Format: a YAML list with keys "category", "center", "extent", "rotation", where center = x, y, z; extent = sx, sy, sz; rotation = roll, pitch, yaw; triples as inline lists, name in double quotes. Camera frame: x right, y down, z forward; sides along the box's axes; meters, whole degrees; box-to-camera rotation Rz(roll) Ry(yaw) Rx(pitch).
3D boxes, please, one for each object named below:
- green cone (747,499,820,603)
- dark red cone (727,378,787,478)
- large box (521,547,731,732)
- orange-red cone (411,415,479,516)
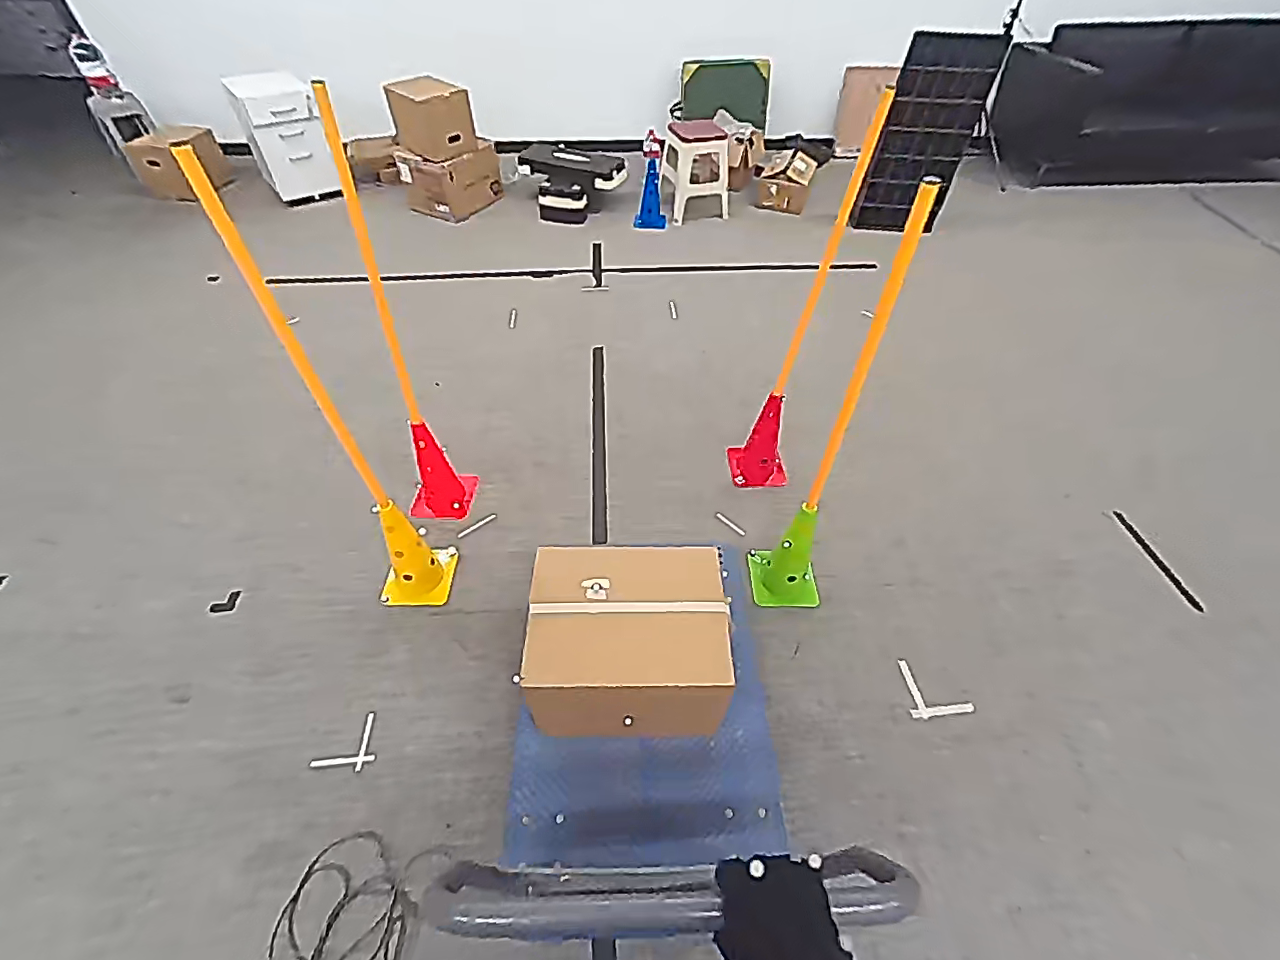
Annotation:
- category: "green cone"
  center: [0.453, 0.187, 1.586]
  extent: [0.202, 0.368, 0.200]
  rotation: [2, 48, -2]
- category: "dark red cone"
  center: [0.443, -0.188, 1.895]
  extent: [0.201, 0.394, 0.202]
  rotation: [-1, 49, -5]
- category: "large box"
  center: [-0.028, 0.365, 1.222]
  extent: [0.408, 0.320, 0.320]
  rotation: [0, 49, -1]
- category: "orange-red cone"
  center: [-0.680, -0.071, 1.785]
  extent: [0.198, 0.360, 0.199]
  rotation: [4, 47, 1]
